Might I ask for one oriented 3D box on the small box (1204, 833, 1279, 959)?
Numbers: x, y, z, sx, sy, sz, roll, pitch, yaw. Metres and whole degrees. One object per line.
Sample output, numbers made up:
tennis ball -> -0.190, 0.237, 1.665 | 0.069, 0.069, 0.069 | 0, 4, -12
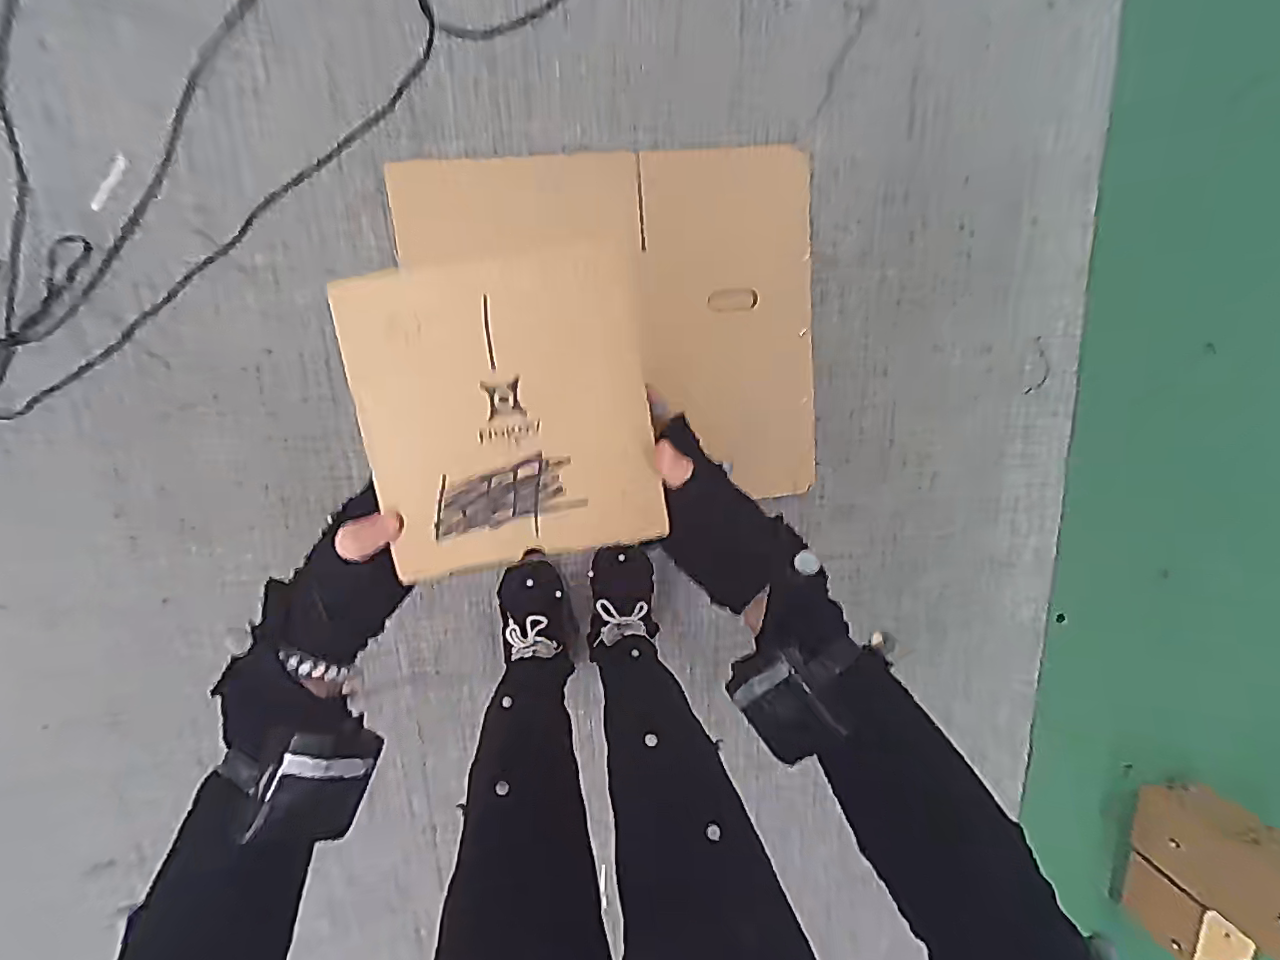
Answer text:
small box -> 1.329, 0.859, 1.109 | 0.168, 0.176, 0.179 | -1, 101, -7

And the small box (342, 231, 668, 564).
small box -> -0.077, -0.058, 0.397 | 0.168, 0.176, 0.179 | -10, 99, -1
